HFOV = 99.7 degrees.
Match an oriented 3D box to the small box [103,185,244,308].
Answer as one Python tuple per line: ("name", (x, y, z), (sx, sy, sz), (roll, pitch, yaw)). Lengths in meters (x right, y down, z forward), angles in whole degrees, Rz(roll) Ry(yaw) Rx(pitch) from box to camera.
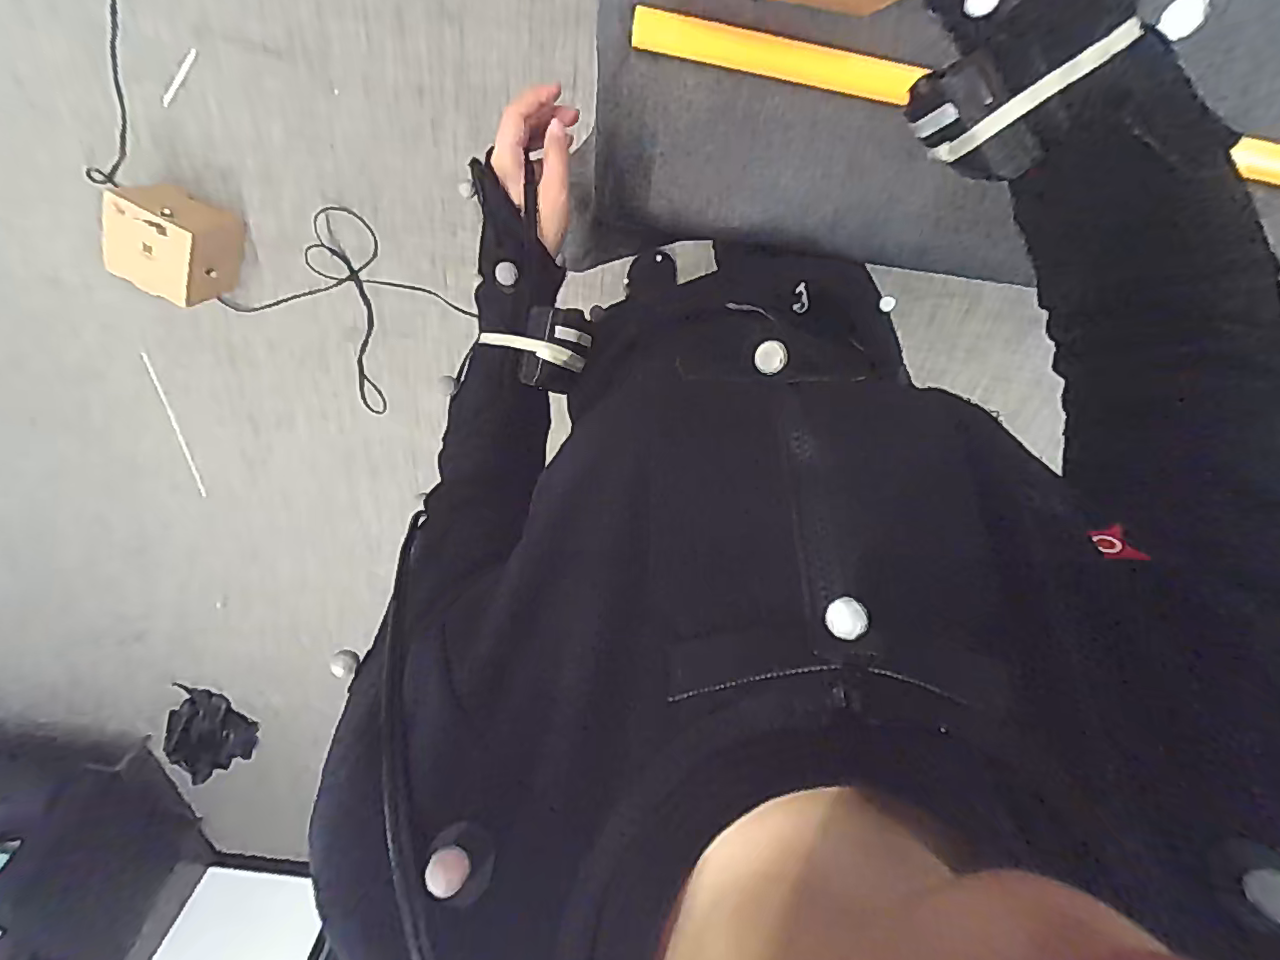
("small box", (-1.003, -0.509, 1.173), (0.168, 0.176, 0.179), (27, 121, -13))
